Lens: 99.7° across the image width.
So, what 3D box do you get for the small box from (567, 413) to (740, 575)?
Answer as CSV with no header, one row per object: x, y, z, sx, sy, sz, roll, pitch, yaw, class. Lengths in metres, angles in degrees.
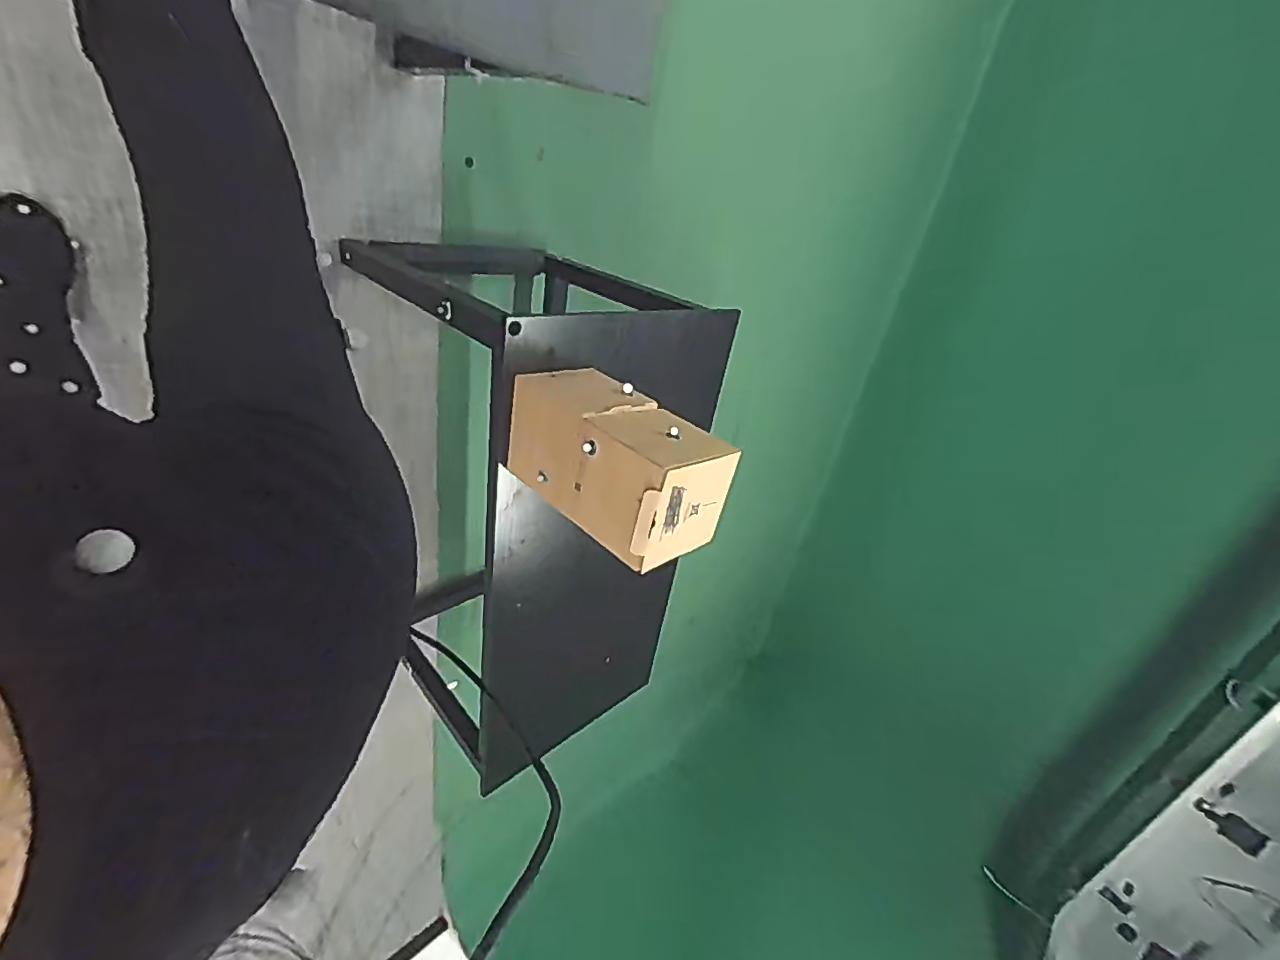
0.014,0.010,0.811,0.179,0.176,0.168,-14,128,-45,small box
